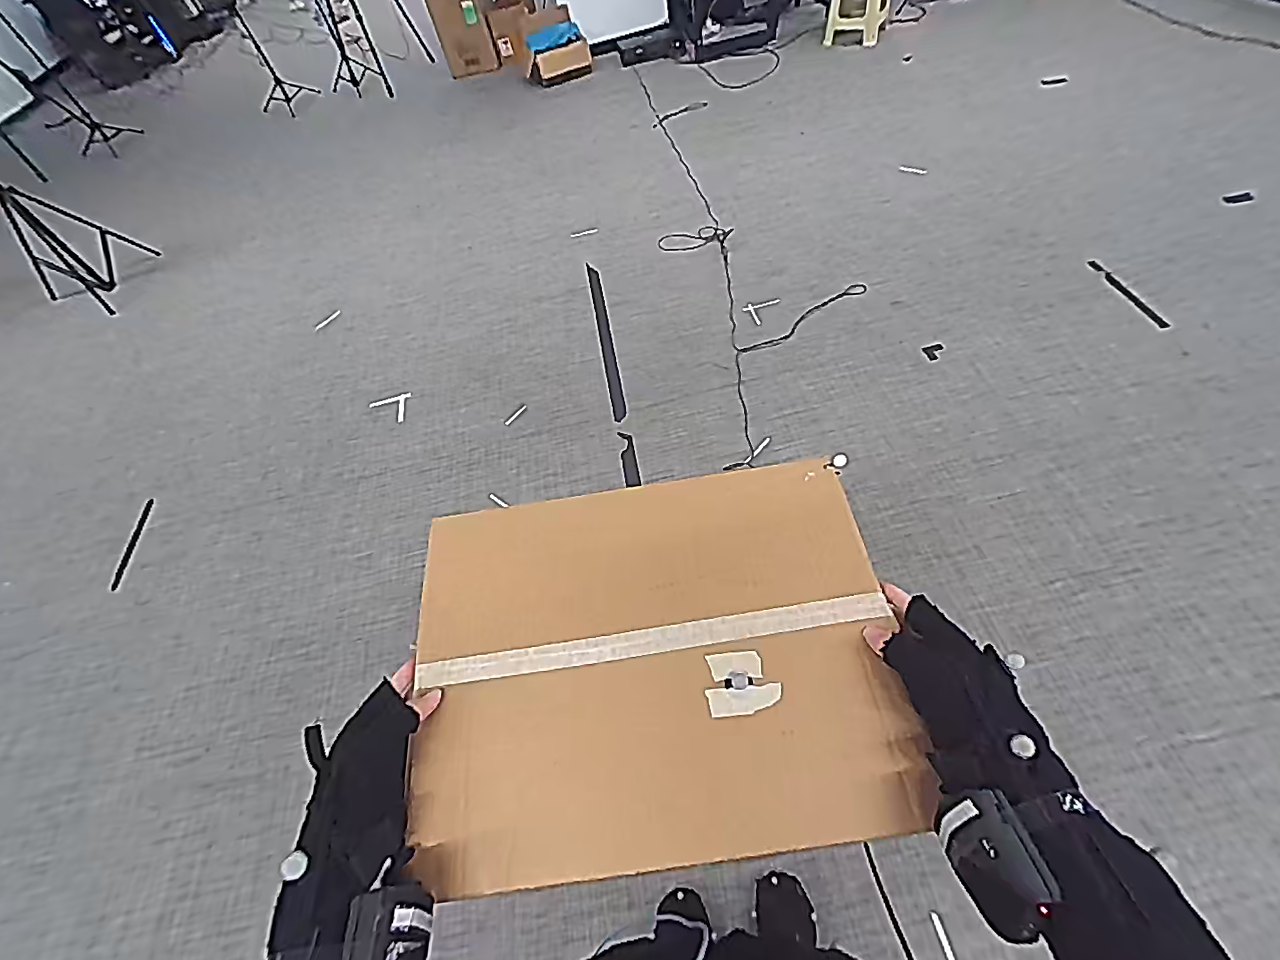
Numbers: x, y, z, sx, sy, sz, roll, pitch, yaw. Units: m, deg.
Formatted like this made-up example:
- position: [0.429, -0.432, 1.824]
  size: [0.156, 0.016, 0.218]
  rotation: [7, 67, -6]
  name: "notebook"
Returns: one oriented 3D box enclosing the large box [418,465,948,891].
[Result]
- position: [0.024, 0.222, 0.598]
  size: [0.408, 0.320, 0.320]
  rotation: [-9, 57, 0]
  name: "large box"
